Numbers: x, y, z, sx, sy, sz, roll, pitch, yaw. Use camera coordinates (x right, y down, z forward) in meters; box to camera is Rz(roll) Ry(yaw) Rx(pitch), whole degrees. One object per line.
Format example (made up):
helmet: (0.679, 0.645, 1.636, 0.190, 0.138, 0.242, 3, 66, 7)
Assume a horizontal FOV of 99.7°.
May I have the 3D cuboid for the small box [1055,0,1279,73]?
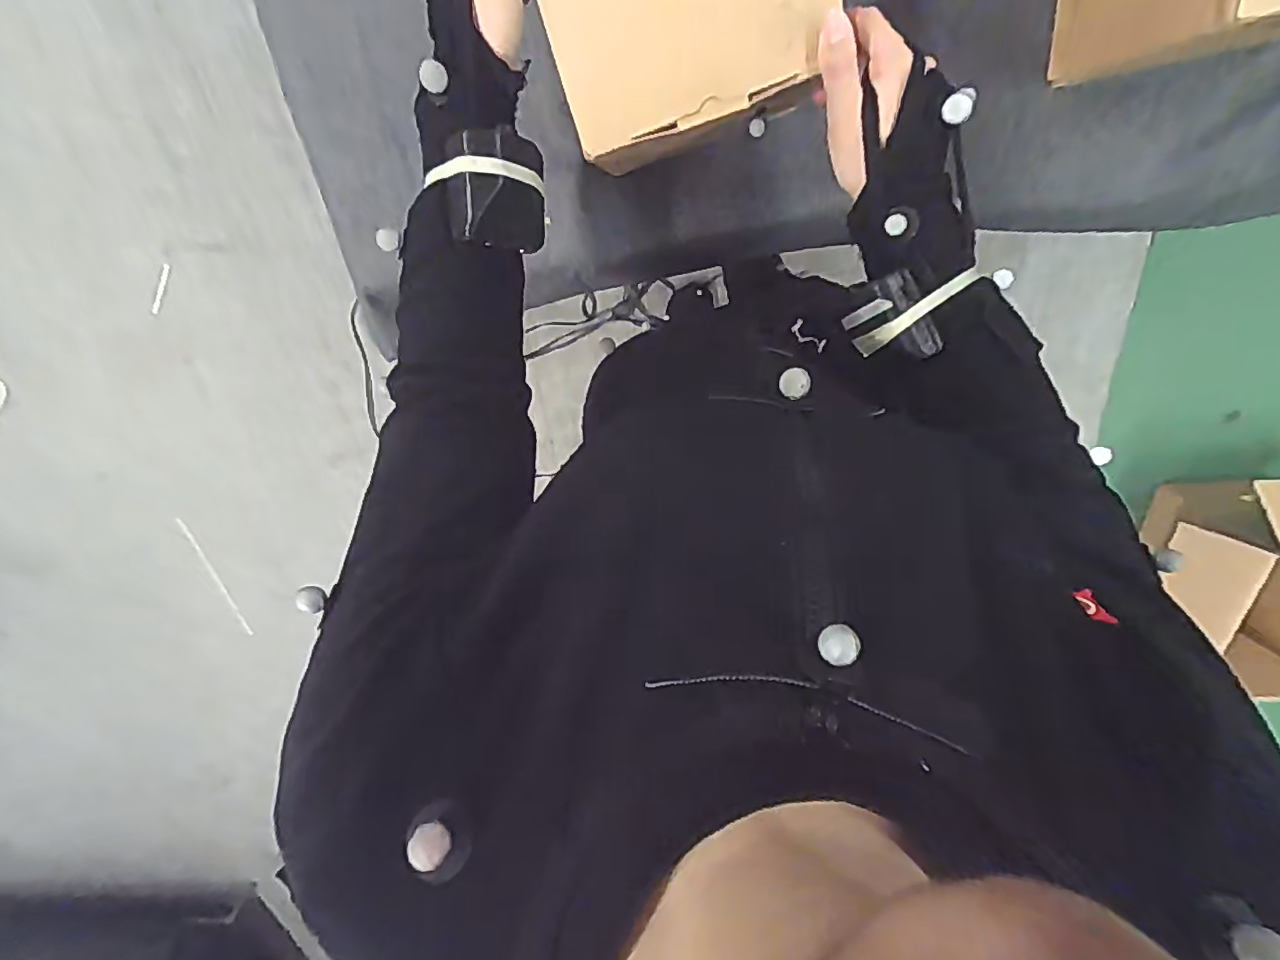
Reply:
small box: (0.394, -0.366, 0.312, 0.179, 0.176, 0.168, -7, 116, 9)
